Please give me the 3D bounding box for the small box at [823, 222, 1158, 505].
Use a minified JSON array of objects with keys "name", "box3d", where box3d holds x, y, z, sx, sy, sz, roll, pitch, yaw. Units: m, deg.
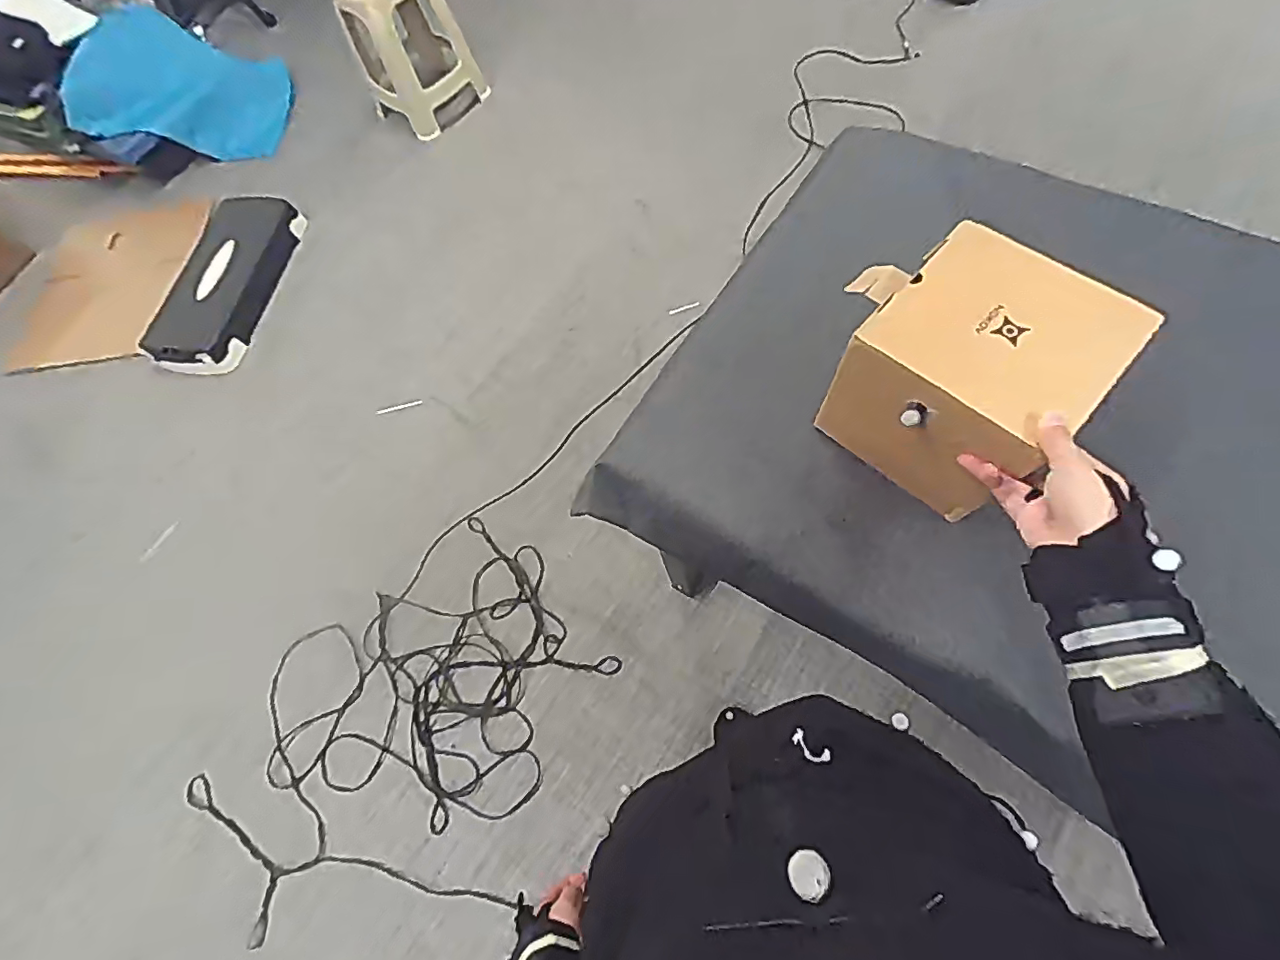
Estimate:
[{"name":"small box","box3d":[0.306,-0.096,0.517,0.179,0.176,0.168,41,77,20]}]
